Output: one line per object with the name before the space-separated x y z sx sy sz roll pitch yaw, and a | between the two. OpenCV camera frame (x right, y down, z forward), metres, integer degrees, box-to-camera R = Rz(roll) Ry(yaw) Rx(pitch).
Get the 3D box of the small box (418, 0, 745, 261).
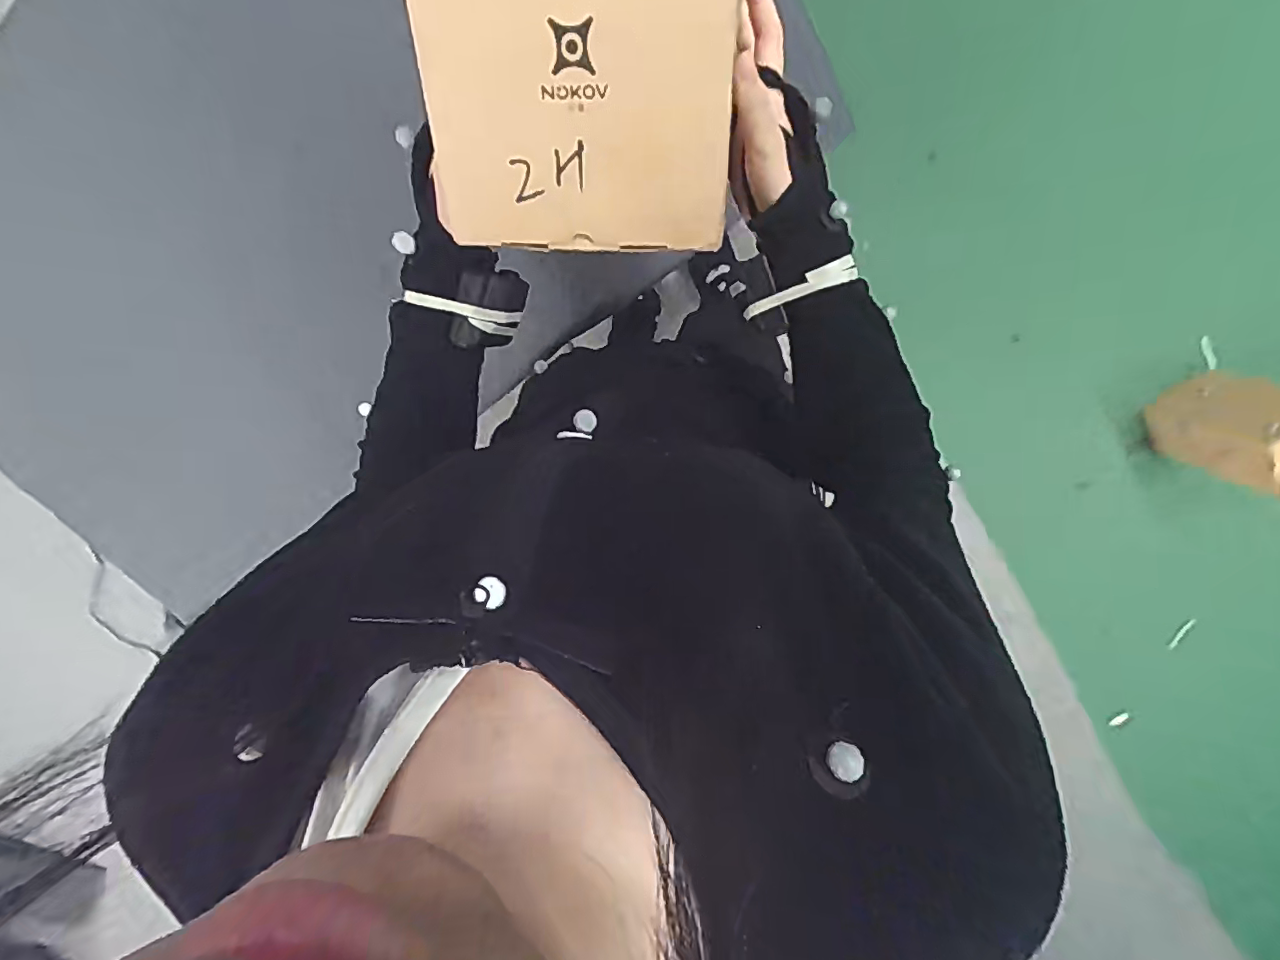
small box | -0.021 -0.254 0.351 0.168 0.176 0.179 5 125 8
